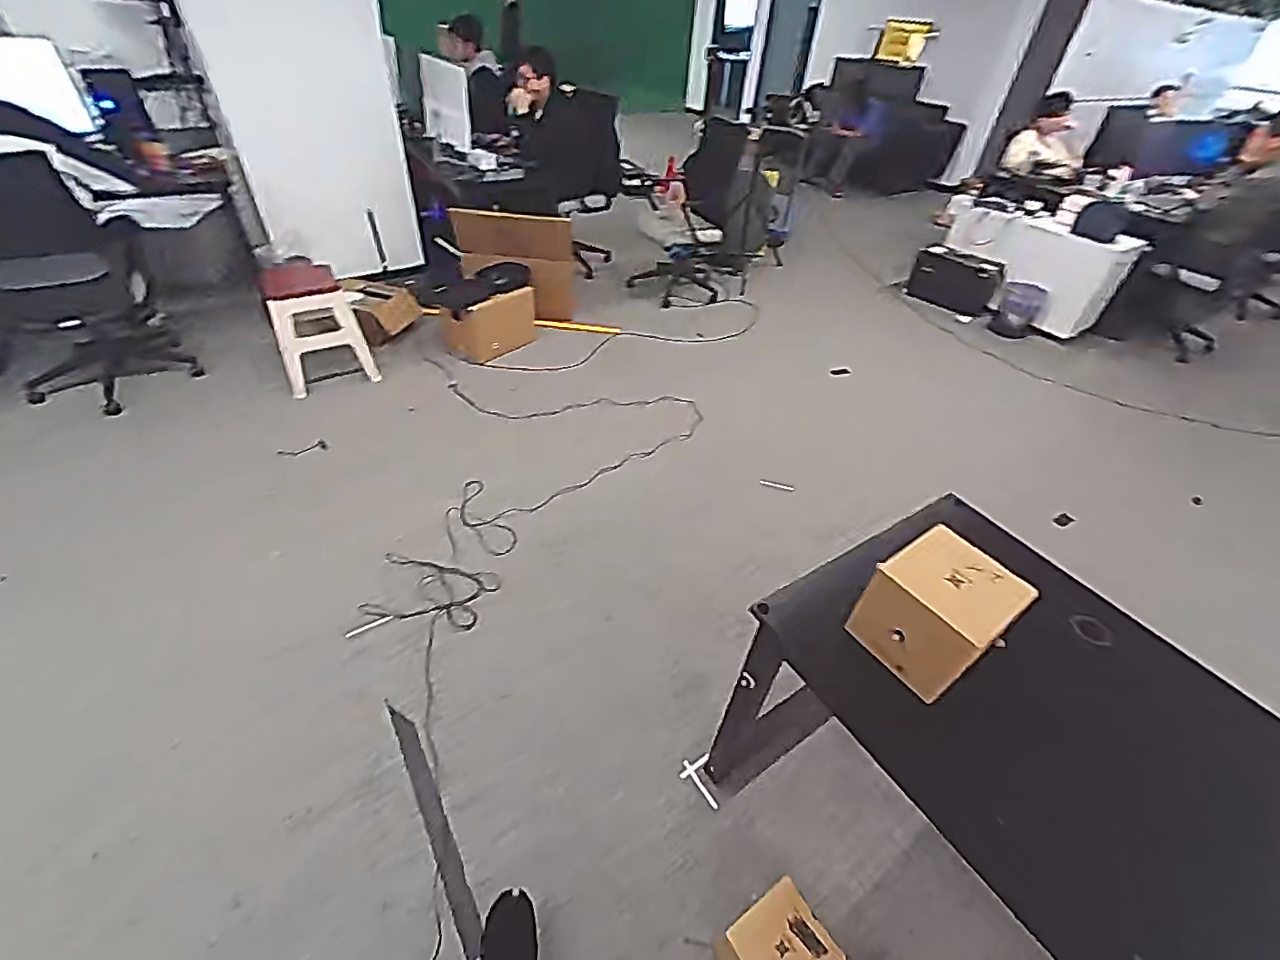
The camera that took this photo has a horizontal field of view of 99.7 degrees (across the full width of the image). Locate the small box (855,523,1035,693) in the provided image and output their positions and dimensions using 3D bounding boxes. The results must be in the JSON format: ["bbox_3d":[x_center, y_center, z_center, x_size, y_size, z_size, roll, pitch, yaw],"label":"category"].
[{"bbox_3d":[0.474,0.206,0.870,0.179,0.176,0.168,-23,50,-28],"label":"small box"}]

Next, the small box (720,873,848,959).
[{"bbox_3d":[0.285,0.960,1.110,0.179,0.176,0.168,-23,49,-26],"label":"small box"}]
